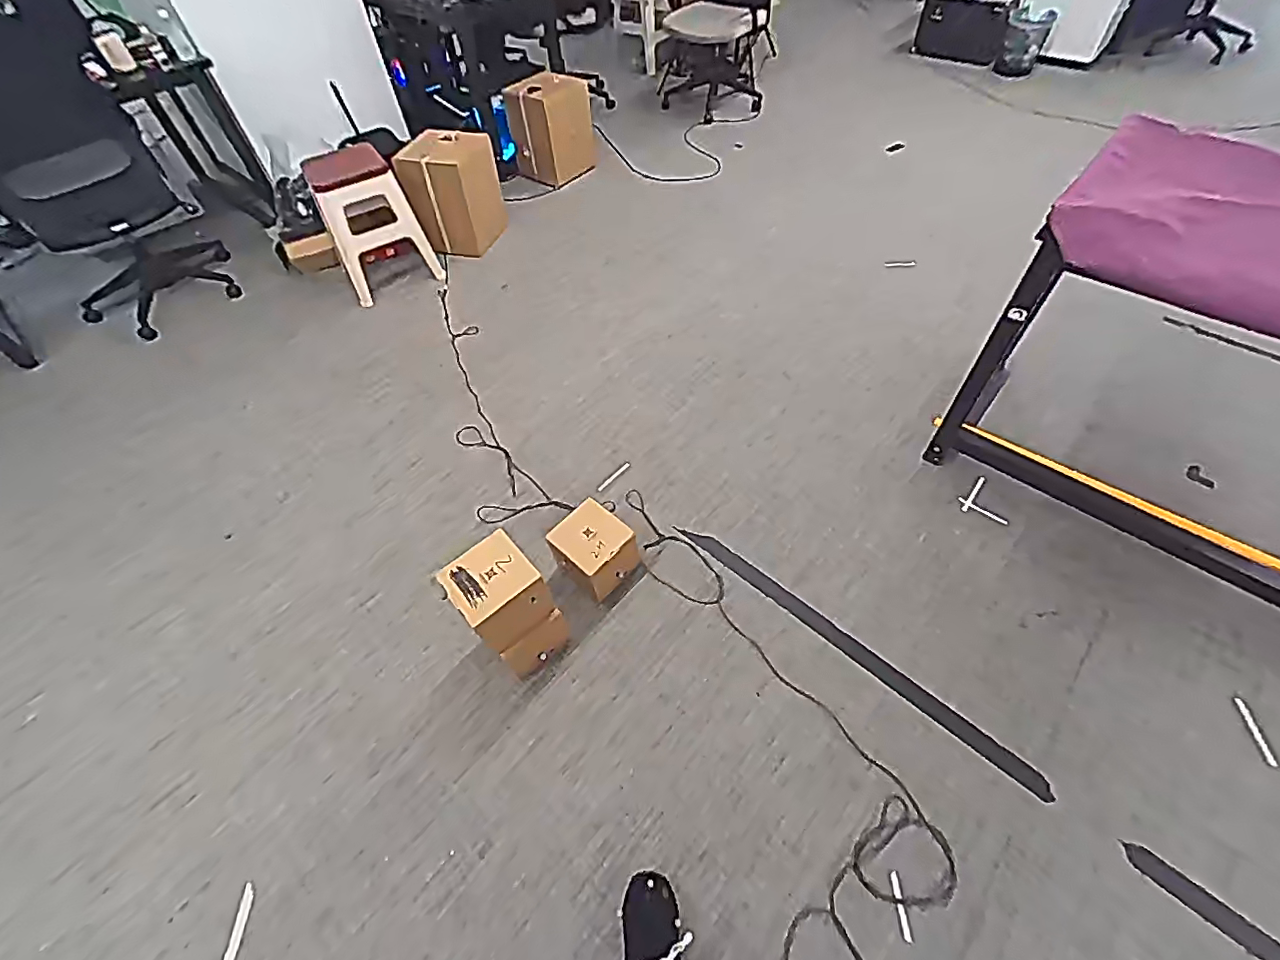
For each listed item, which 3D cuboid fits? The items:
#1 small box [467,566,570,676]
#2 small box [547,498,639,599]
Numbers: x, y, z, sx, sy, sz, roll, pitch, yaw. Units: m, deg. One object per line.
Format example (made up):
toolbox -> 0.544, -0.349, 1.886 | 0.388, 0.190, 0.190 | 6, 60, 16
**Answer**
small box -> -0.297, 0.355, 1.344 | 0.168, 0.176, 0.179 | -37, 60, -21
small box -> -0.122, 0.189, 1.455 | 0.179, 0.176, 0.168 | 36, 65, 26
